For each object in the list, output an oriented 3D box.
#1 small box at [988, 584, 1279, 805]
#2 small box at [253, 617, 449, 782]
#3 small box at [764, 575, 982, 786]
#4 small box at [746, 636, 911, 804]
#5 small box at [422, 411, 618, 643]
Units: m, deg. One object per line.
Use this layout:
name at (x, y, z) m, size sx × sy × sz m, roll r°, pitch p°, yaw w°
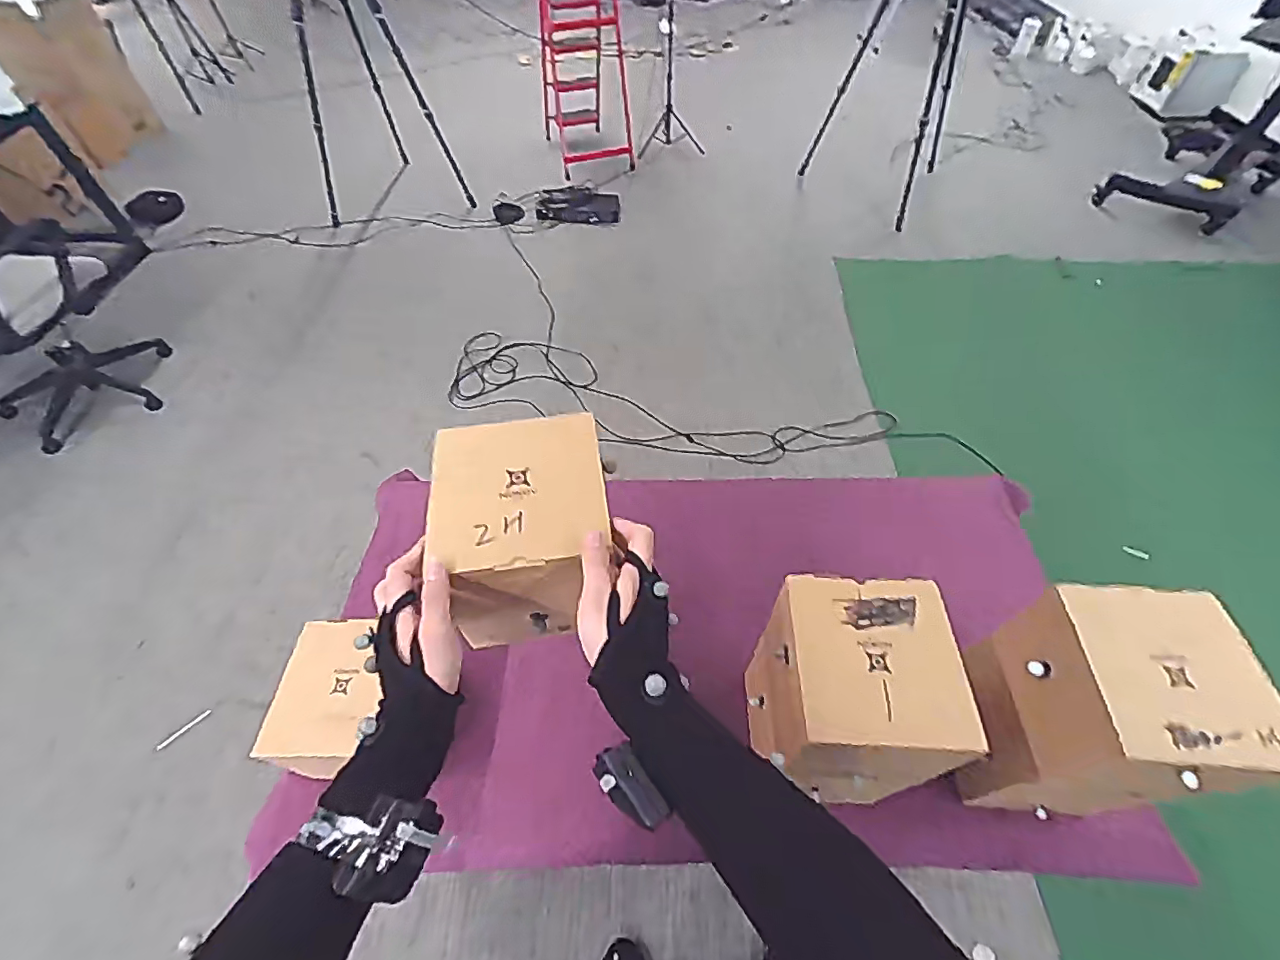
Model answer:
small box at (0.520, 0.236, 0.591) m, size 0.168 × 0.176 × 0.179 m, roll 3°, pitch 52°, yaw 5°
small box at (-0.385, 0.311, 0.765) m, size 0.168 × 0.176 × 0.179 m, roll 0°, pitch 52°, yaw 2°
small box at (0.238, 0.227, 0.610) m, size 0.168 × 0.176 × 0.179 m, roll 2°, pitch 52°, yaw 4°
small box at (0.241, 0.330, 0.738) m, size 0.168 × 0.176 × 0.179 m, roll 1°, pitch 51°, yaw 3°
small box at (-0.116, 0.052, 0.577) m, size 0.168 × 0.176 × 0.179 m, roll -7°, pitch 54°, yaw -4°
